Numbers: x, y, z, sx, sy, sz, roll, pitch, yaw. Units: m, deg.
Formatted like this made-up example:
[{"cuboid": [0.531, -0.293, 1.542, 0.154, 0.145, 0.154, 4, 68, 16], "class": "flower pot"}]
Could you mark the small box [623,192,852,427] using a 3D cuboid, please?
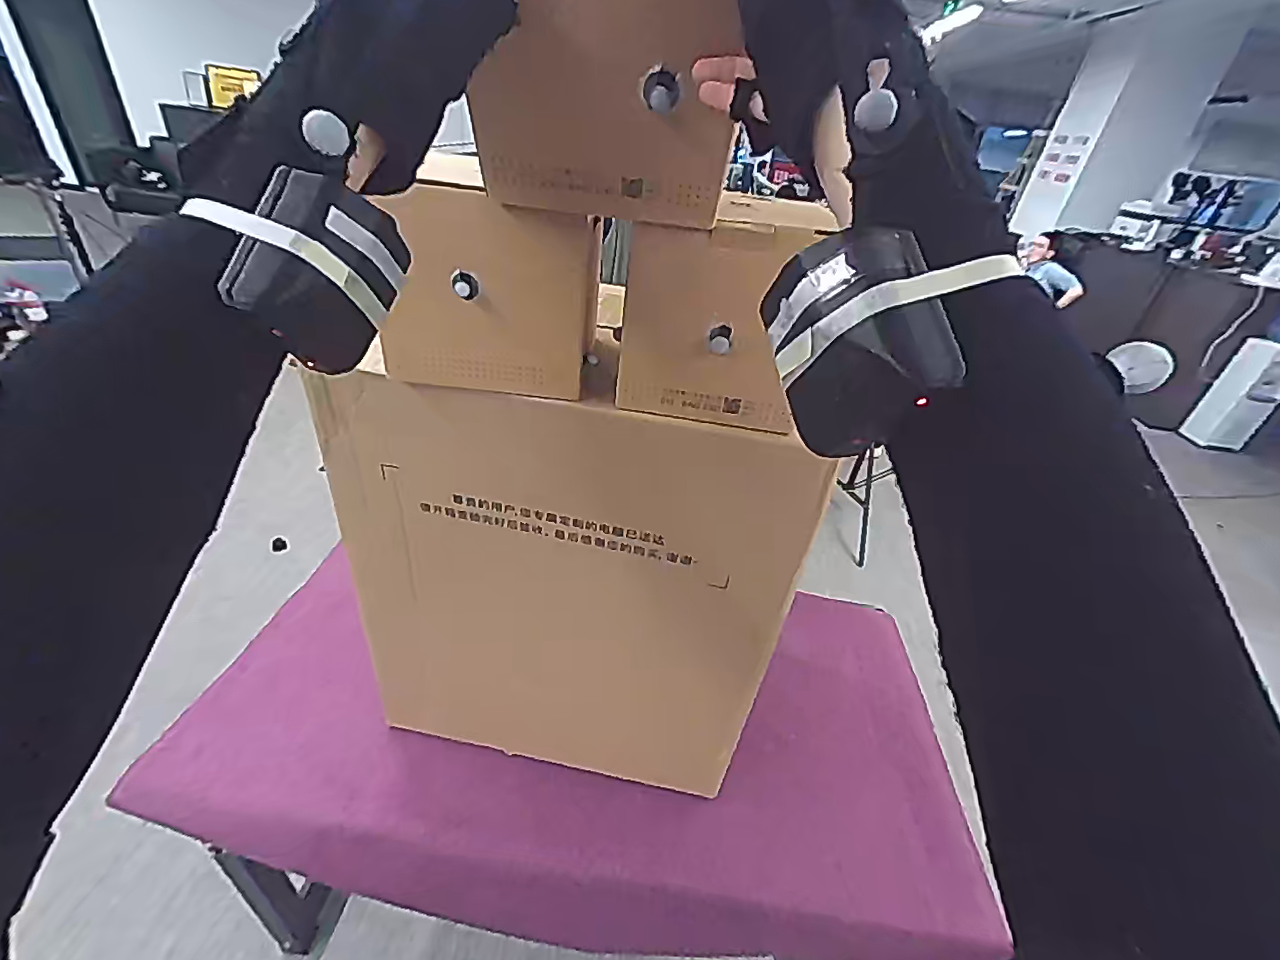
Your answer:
[{"cuboid": [0.079, -0.168, 0.514, 0.168, 0.176, 0.179, 9, 35, 1], "class": "small box"}]

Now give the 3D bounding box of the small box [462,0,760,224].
[{"cuboid": [-0.011, -0.303, 0.364, 0.168, 0.176, 0.179, 7, 61, -1], "class": "small box"}]

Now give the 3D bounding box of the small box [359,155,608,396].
[{"cuboid": [-0.126, -0.192, 0.510, 0.179, 0.176, 0.168, 5, 35, -2], "class": "small box"}]
